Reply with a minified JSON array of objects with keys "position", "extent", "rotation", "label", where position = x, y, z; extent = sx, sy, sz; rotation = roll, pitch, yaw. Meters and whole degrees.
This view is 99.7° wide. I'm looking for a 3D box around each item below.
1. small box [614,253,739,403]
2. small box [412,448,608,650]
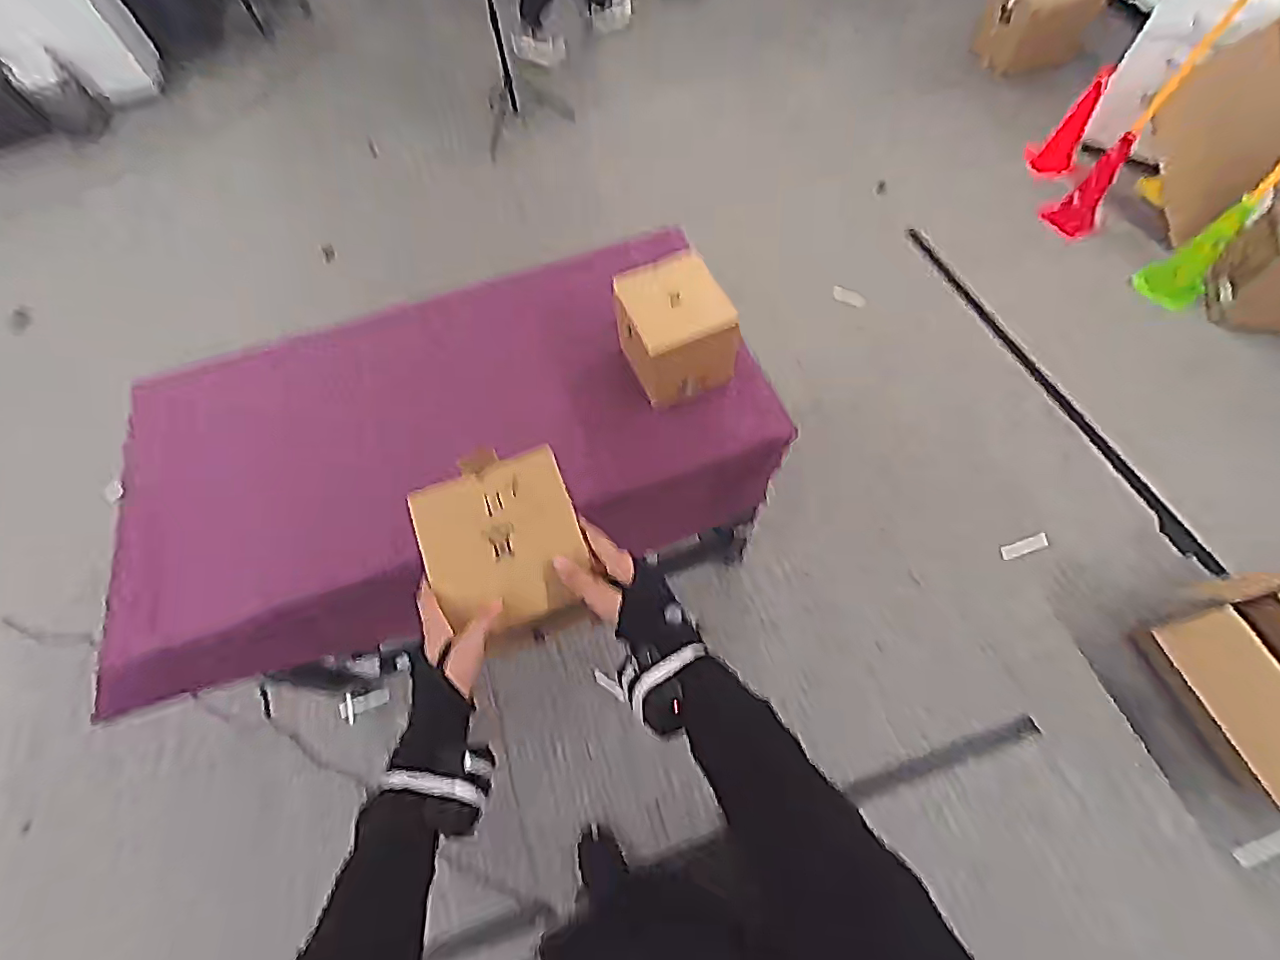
[{"position":[0.063,-0.274,0.993],"extent":[0.168,0.176,0.179],"rotation":[-22,63,-7],"label":"small box"},{"position":[-0.145,0.093,0.650],"extent":[0.168,0.176,0.179],"rotation":[-21,68,-7],"label":"small box"}]
